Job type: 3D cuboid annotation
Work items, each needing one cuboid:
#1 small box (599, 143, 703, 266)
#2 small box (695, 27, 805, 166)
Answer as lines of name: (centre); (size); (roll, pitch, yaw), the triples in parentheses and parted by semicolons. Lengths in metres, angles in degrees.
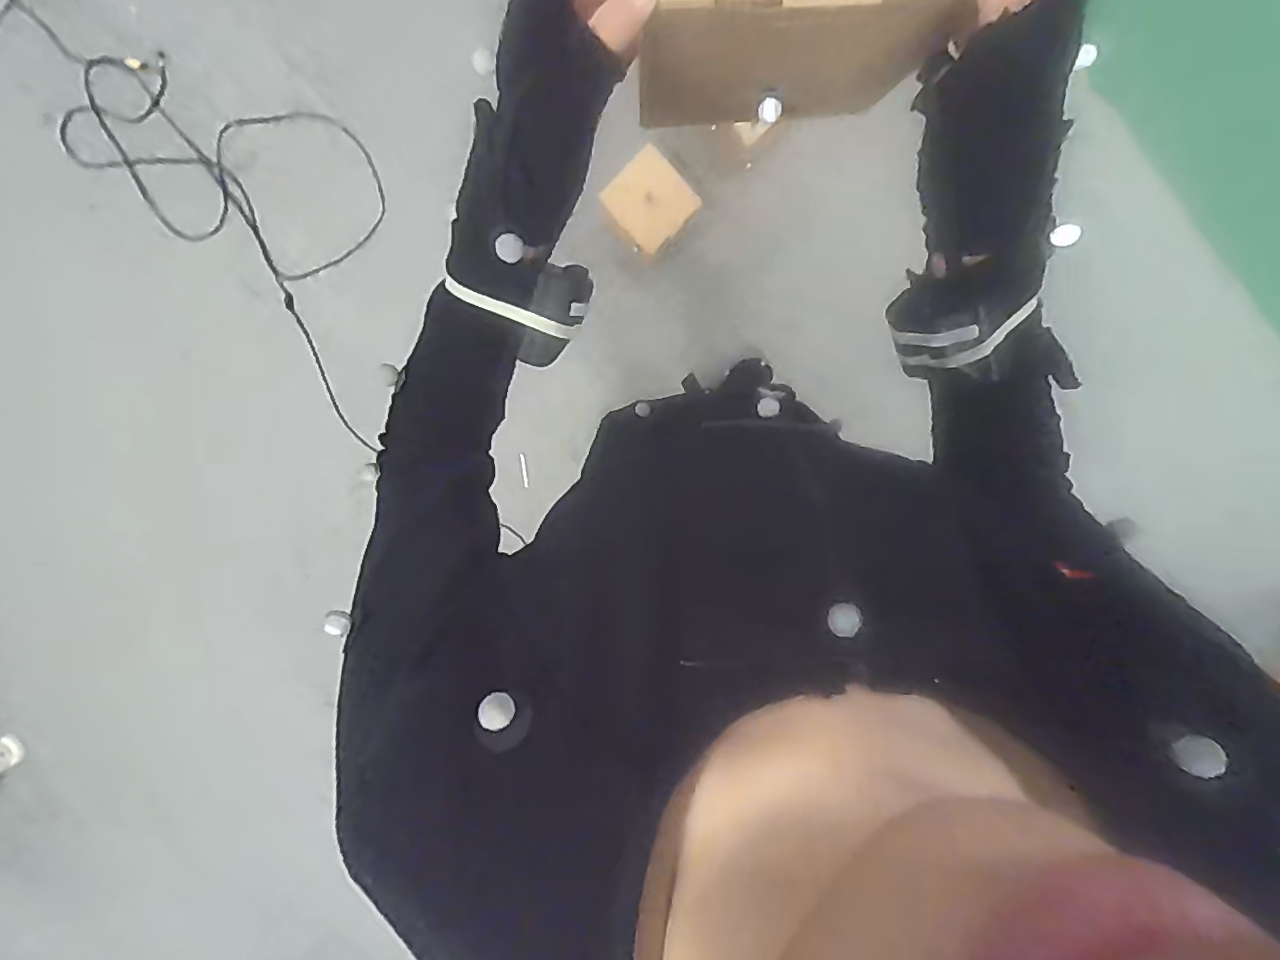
small box: (0.023, -0.636, 1.277); (0.168, 0.176, 0.179); (-44, 98, 7)
small box: (0.243, -0.857, 1.237); (0.168, 0.176, 0.179); (-38, 97, 6)
